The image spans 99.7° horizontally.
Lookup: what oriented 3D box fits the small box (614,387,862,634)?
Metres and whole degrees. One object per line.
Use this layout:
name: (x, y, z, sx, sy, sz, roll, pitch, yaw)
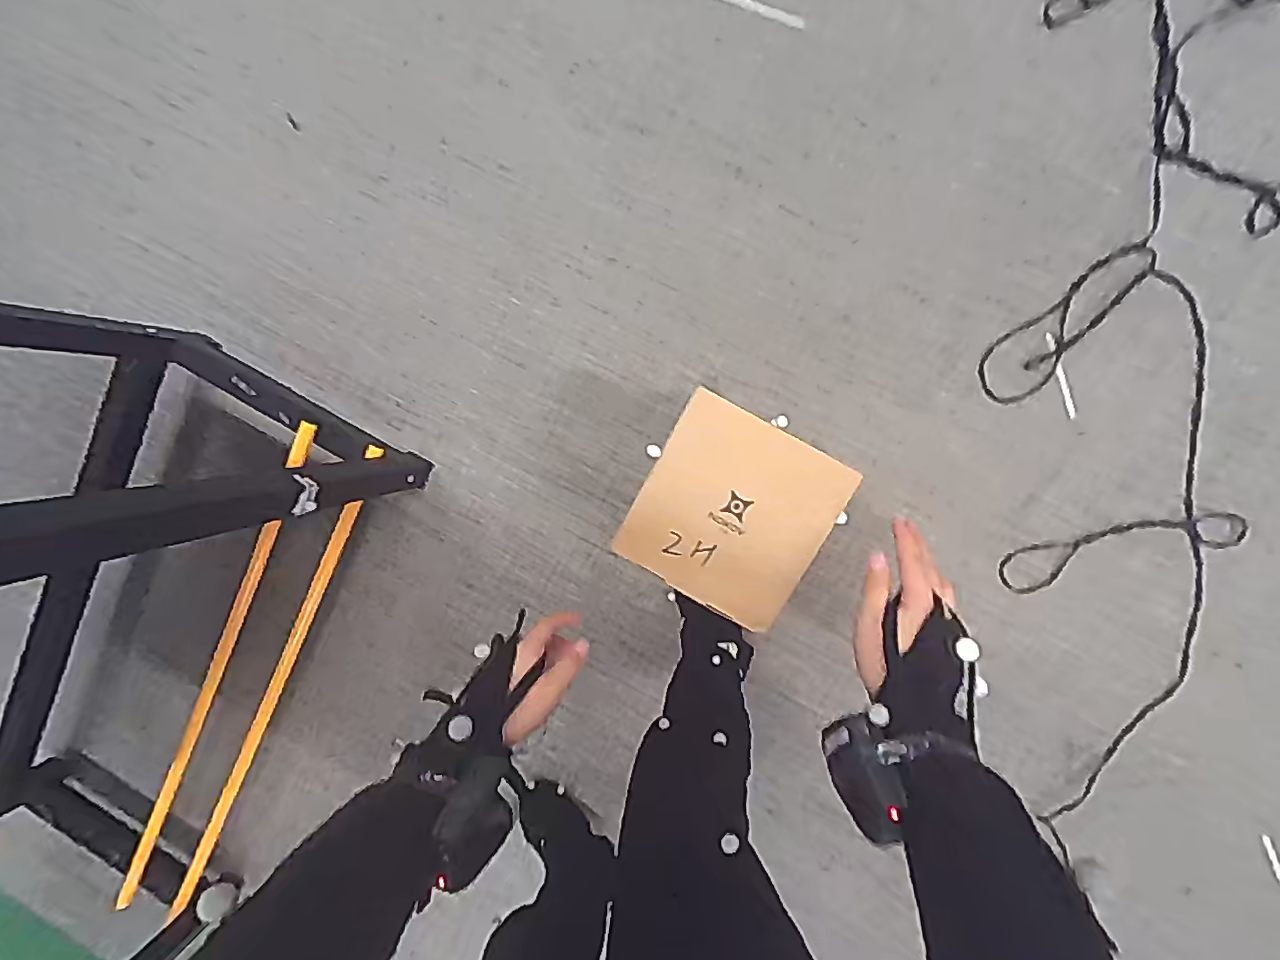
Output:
small box: (0.096, 0.020, 0.566, 0.168, 0.176, 0.179, 29, 101, 5)
